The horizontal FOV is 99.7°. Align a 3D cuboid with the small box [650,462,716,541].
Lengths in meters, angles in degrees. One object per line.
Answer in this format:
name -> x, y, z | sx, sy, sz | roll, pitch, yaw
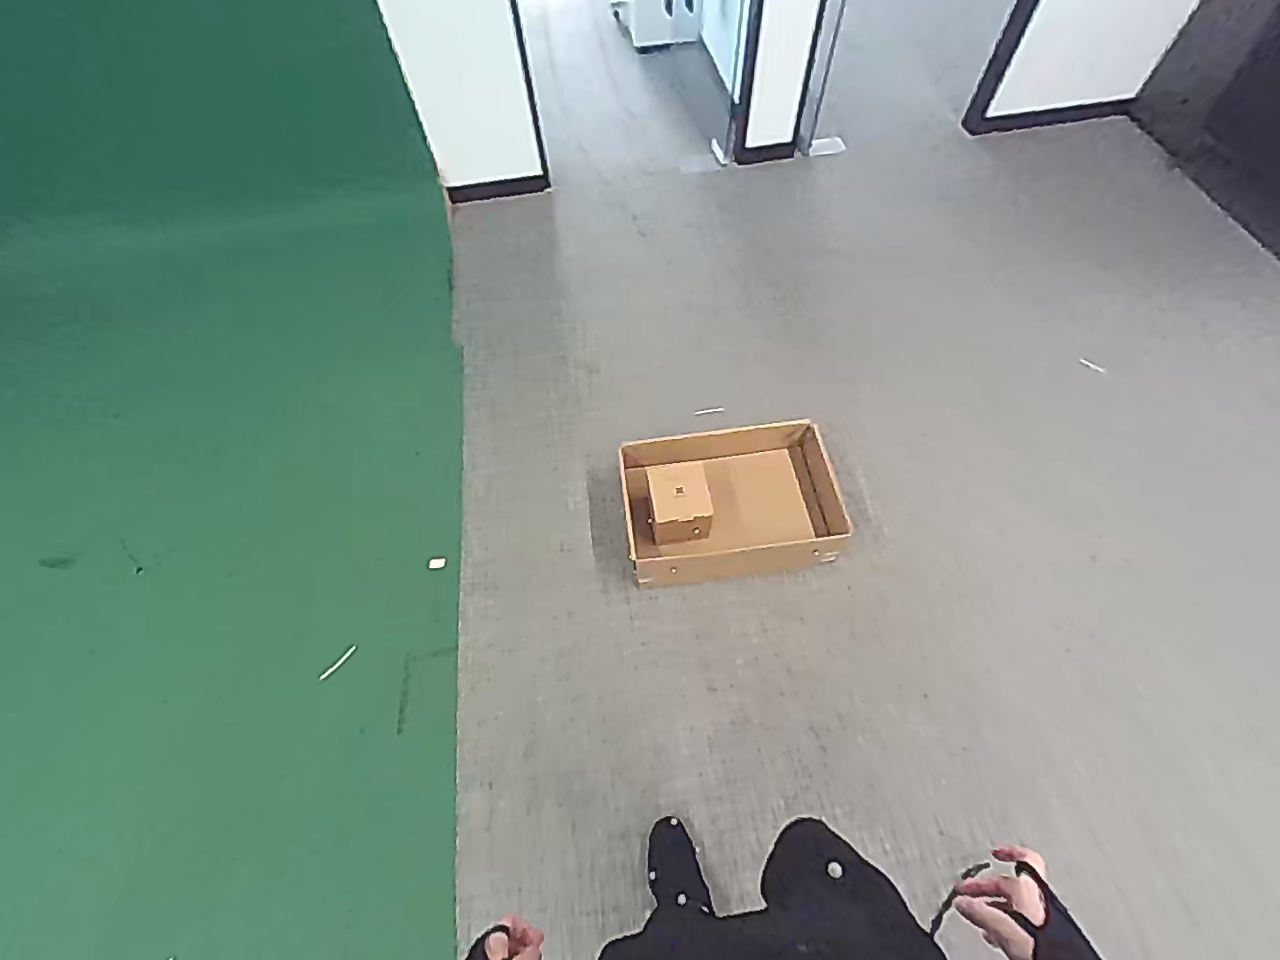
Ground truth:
small box -> 0.123, 0.070, 1.600 | 0.168, 0.176, 0.179 | -8, 60, -3
